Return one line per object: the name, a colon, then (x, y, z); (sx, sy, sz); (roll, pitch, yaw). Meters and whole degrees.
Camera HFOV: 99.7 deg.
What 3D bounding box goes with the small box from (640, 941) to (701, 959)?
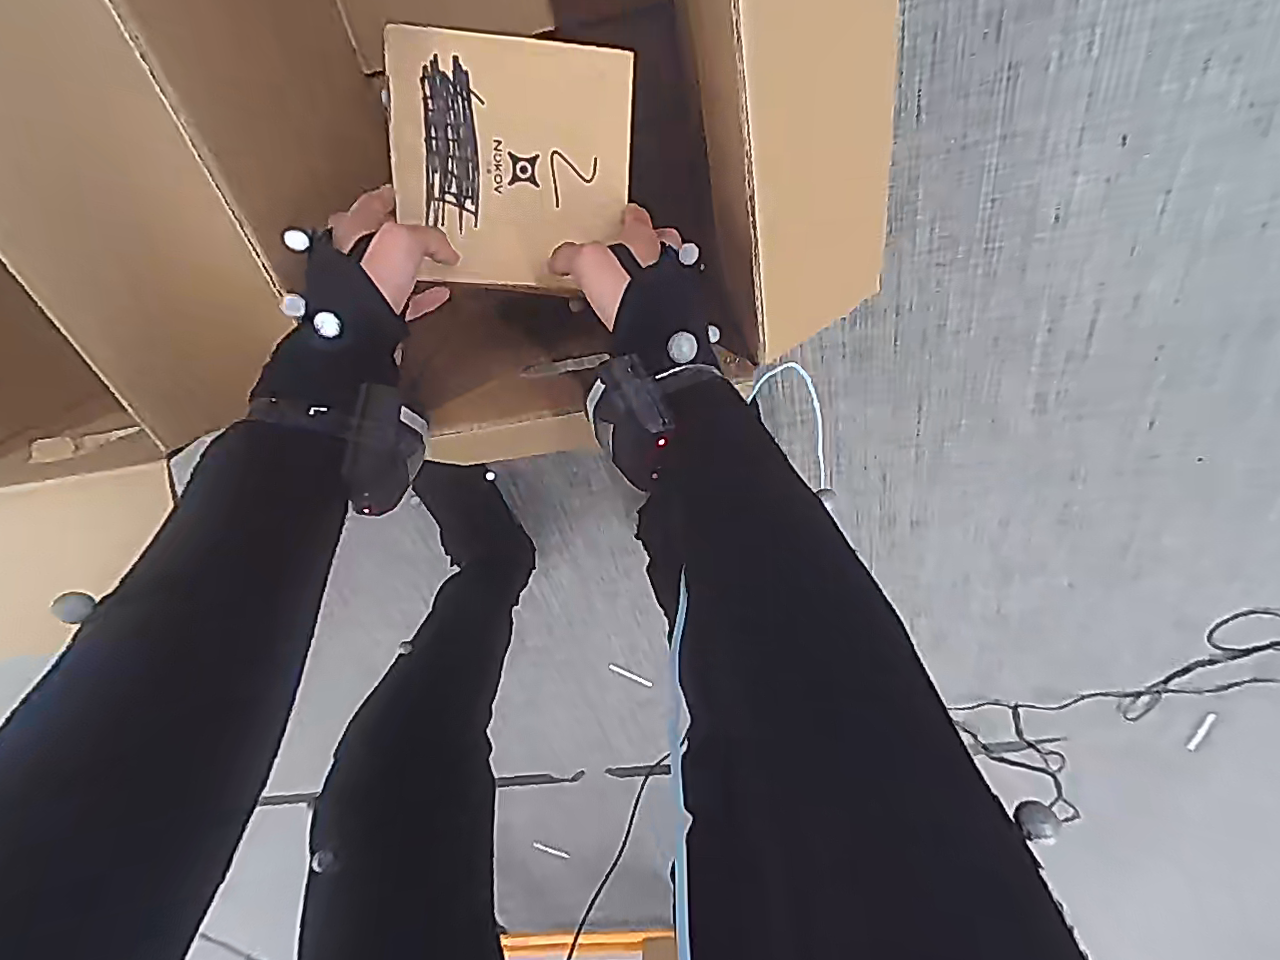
small box: (0.098, 1.544, 1.659); (0.179, 0.176, 0.168); (-10, 124, 12)
